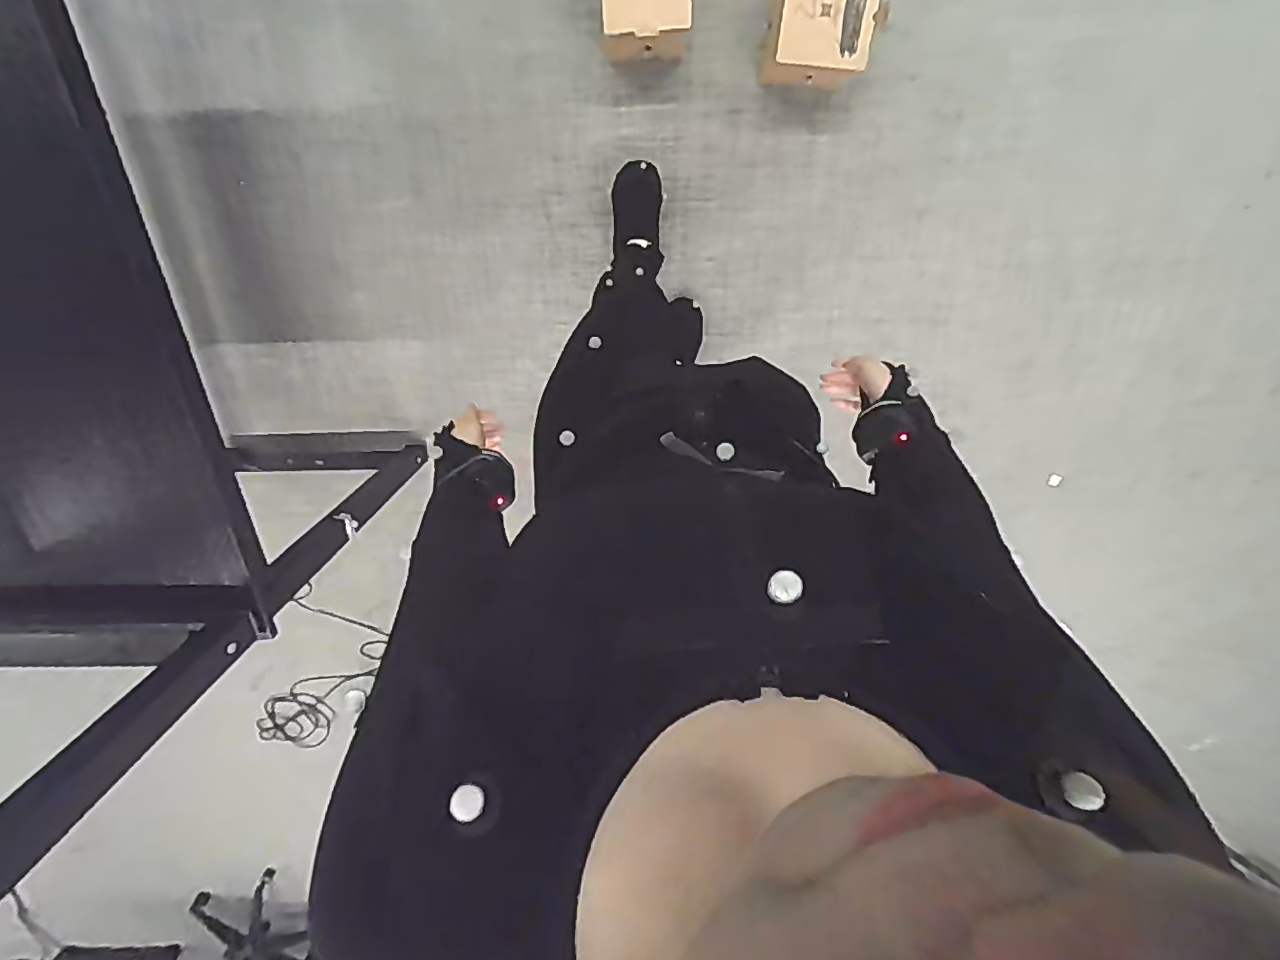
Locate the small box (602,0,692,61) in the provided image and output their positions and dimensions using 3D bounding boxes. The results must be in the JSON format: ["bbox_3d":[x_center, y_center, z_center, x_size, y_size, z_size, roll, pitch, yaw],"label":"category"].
[{"bbox_3d":[0.016,-0.928,1.035,0.168,0.176,0.179,-1,114,3],"label":"small box"}]
